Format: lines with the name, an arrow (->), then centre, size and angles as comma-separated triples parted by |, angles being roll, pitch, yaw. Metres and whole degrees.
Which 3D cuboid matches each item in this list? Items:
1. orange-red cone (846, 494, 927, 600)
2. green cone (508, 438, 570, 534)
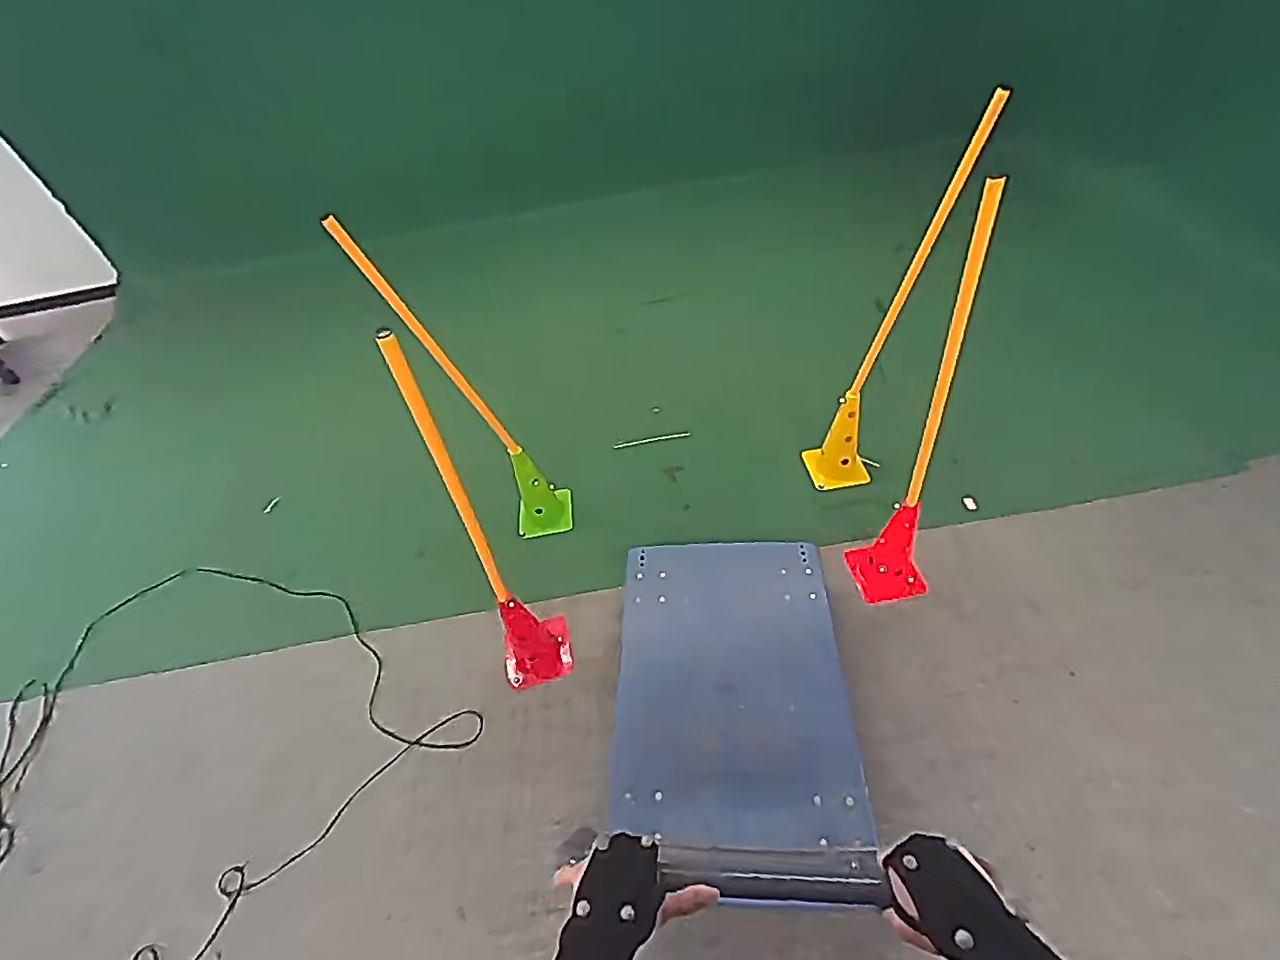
orange-red cone -> 0.748, 0.167, 1.570 | 0.198, 0.360, 0.199 | -10, 47, 0
green cone -> -0.384, -0.002, 1.896 | 0.200, 0.368, 0.202 | -11, 48, 1
